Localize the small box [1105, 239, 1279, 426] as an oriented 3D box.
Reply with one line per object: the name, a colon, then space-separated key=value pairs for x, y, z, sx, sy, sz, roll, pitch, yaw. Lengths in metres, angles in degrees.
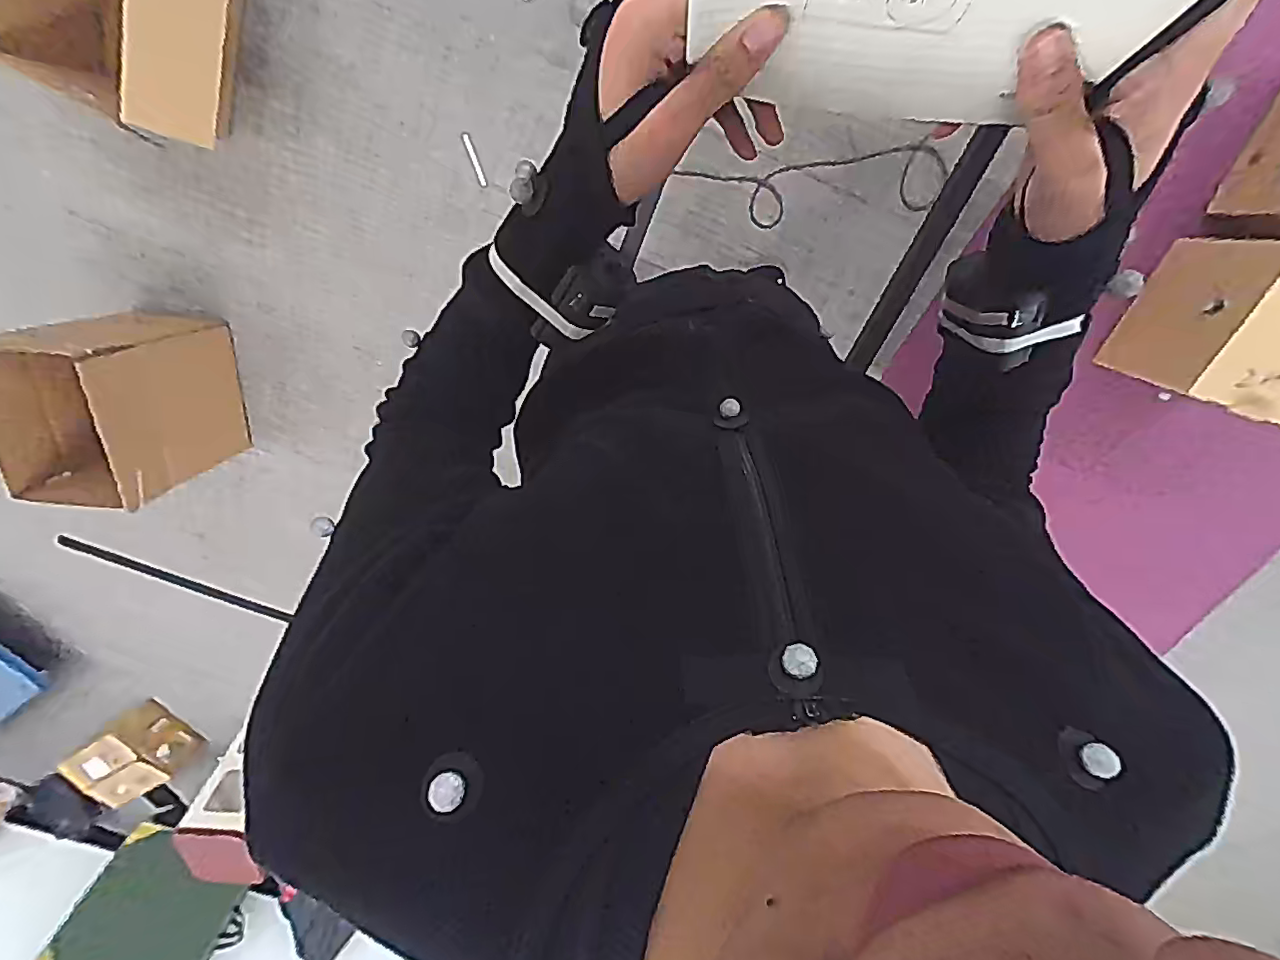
small box: x=0.757 y=-0.189 z=0.679 sx=0.168 sy=0.176 sz=0.179 roll=18 pitch=117 yaw=-4

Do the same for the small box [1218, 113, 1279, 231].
small box: x=0.828 y=-0.360 z=0.593 sx=0.179 sy=0.176 sz=0.168 roll=14 pitch=117 yaw=-3
